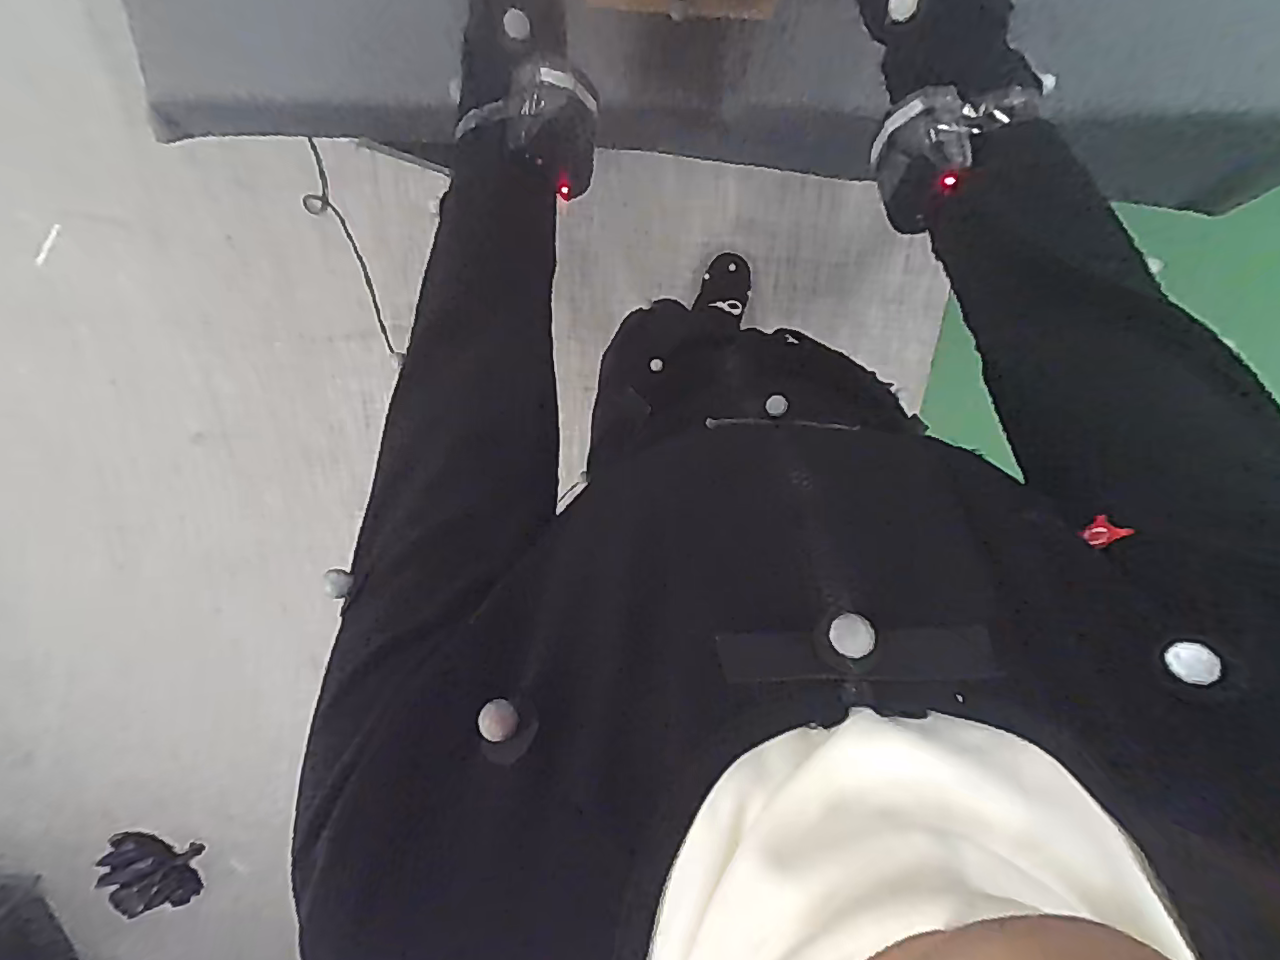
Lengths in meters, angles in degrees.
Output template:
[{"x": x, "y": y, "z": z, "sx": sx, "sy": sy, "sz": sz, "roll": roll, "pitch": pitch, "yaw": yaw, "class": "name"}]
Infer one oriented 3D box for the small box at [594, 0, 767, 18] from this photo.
[{"x": 0.040, "y": -0.492, "z": 0.416, "sx": 0.179, "sy": 0.176, "sz": 0.168, "roll": 5, "pitch": 112, "yaw": 2, "class": "small box"}]
